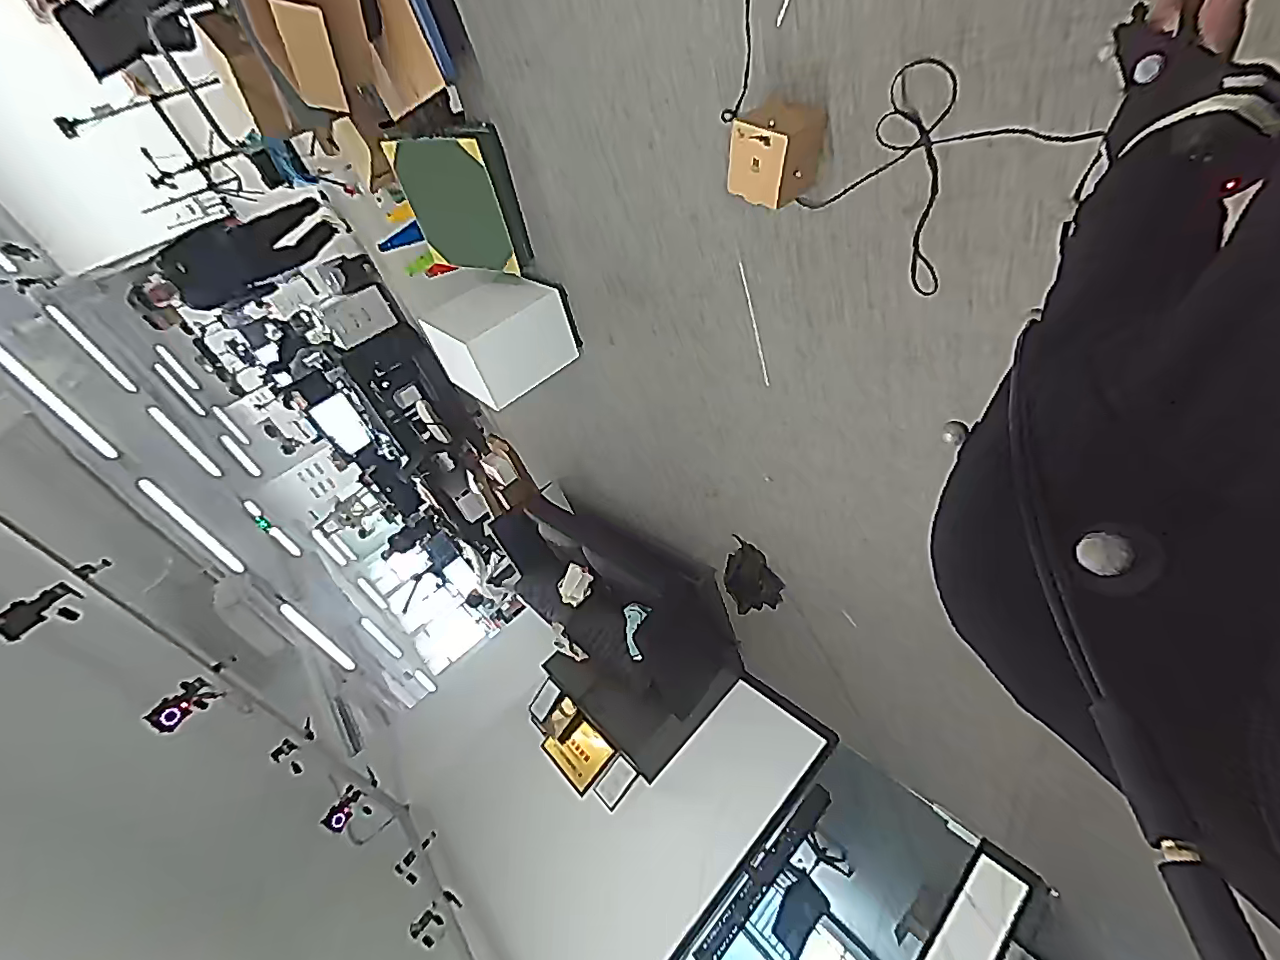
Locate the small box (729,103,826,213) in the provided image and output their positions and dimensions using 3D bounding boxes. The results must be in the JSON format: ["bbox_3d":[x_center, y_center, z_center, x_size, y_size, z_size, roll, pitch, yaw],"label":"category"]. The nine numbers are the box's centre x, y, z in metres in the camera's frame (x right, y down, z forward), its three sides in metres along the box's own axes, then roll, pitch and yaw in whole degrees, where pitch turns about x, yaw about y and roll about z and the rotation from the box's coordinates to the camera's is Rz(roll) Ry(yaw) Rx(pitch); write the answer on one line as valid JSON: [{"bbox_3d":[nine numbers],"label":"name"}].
[{"bbox_3d":[0.350,-0.826,1.386,0.168,0.176,0.179,39,154,27],"label":"small box"}]
